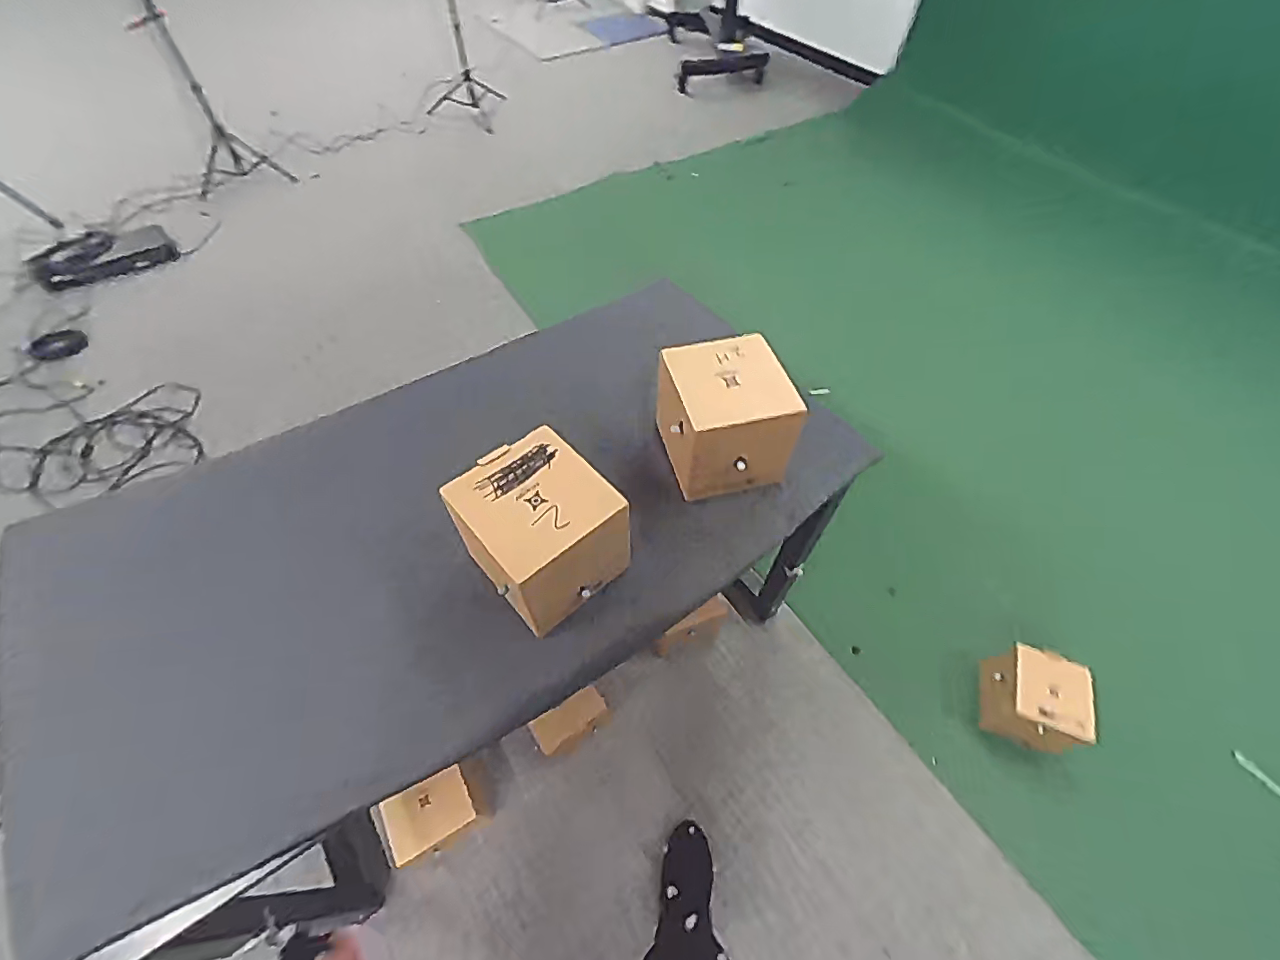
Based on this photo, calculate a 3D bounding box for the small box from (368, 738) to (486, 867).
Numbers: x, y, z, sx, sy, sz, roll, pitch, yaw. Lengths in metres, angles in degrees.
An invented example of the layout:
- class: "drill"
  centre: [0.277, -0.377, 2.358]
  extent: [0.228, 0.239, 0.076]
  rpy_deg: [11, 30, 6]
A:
- class: "small box"
  centre: [-0.451, 0.693, 1.166]
  extent: [0.168, 0.176, 0.179]
  rpy_deg: [-25, 59, -18]

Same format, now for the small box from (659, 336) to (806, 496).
- class: "small box"
  centre: [0.130, -0.091, 0.834]
  extent: [0.168, 0.176, 0.179]
  rpy_deg: [-11, 54, -9]

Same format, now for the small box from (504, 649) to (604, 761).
- class: "small box"
  centre: [-0.196, 0.538, 1.279]
  extent: [0.168, 0.176, 0.179]
  rpy_deg: [-31, 61, -22]

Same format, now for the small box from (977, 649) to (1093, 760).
- class: "small box"
  centre: [0.948, 0.546, 1.309]
  extent: [0.168, 0.176, 0.179]
  rpy_deg: [20, 56, 12]

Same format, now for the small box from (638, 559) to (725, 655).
- class: "small box"
  centre: [0.102, 0.338, 1.426]
  extent: [0.179, 0.176, 0.168]
  rpy_deg: [-16, 58, -15]
